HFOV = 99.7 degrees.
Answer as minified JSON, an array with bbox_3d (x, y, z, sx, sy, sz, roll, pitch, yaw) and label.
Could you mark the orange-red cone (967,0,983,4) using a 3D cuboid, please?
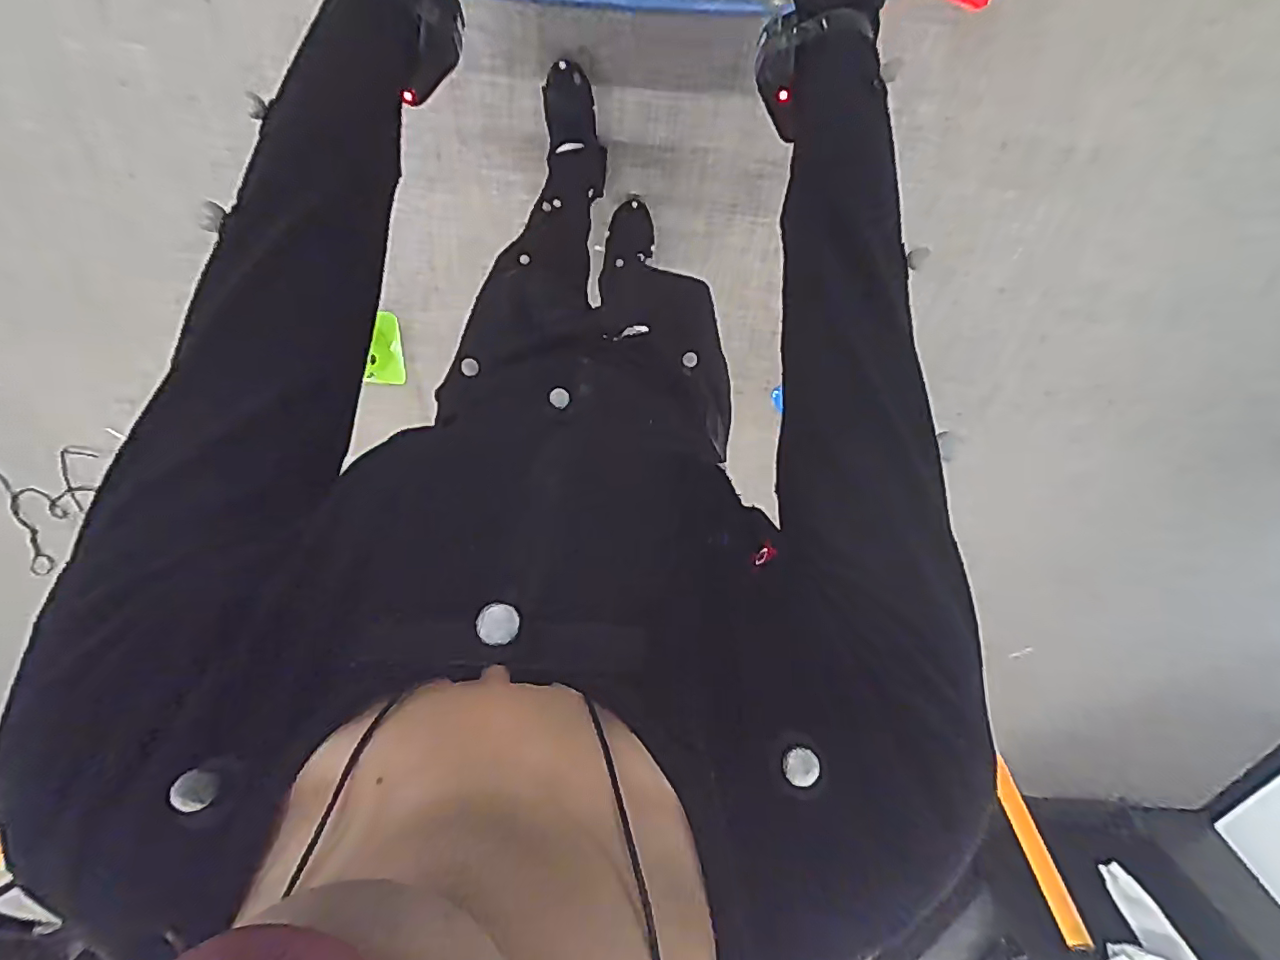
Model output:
[{"bbox_3d":[0.614,-0.938,0.856,0.198,0.360,0.199,15,123,-9],"label":"orange-red cone"}]
